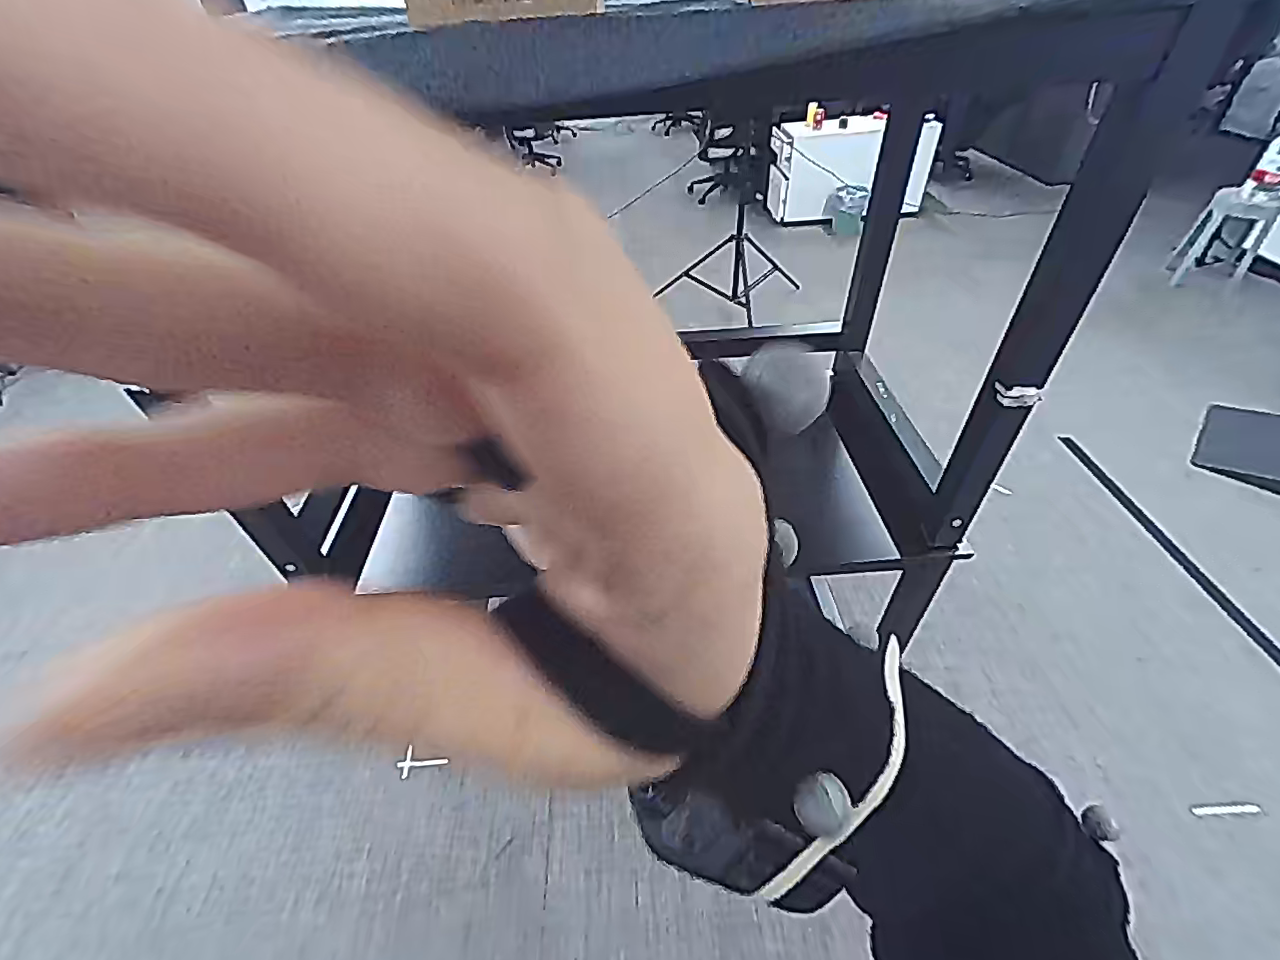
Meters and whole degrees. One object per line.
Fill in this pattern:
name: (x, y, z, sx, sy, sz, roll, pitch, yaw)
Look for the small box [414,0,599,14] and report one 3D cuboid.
small box: (-0.123, -0.523, 0.474, 0.168, 0.176, 0.179, -3, 41, 1)
